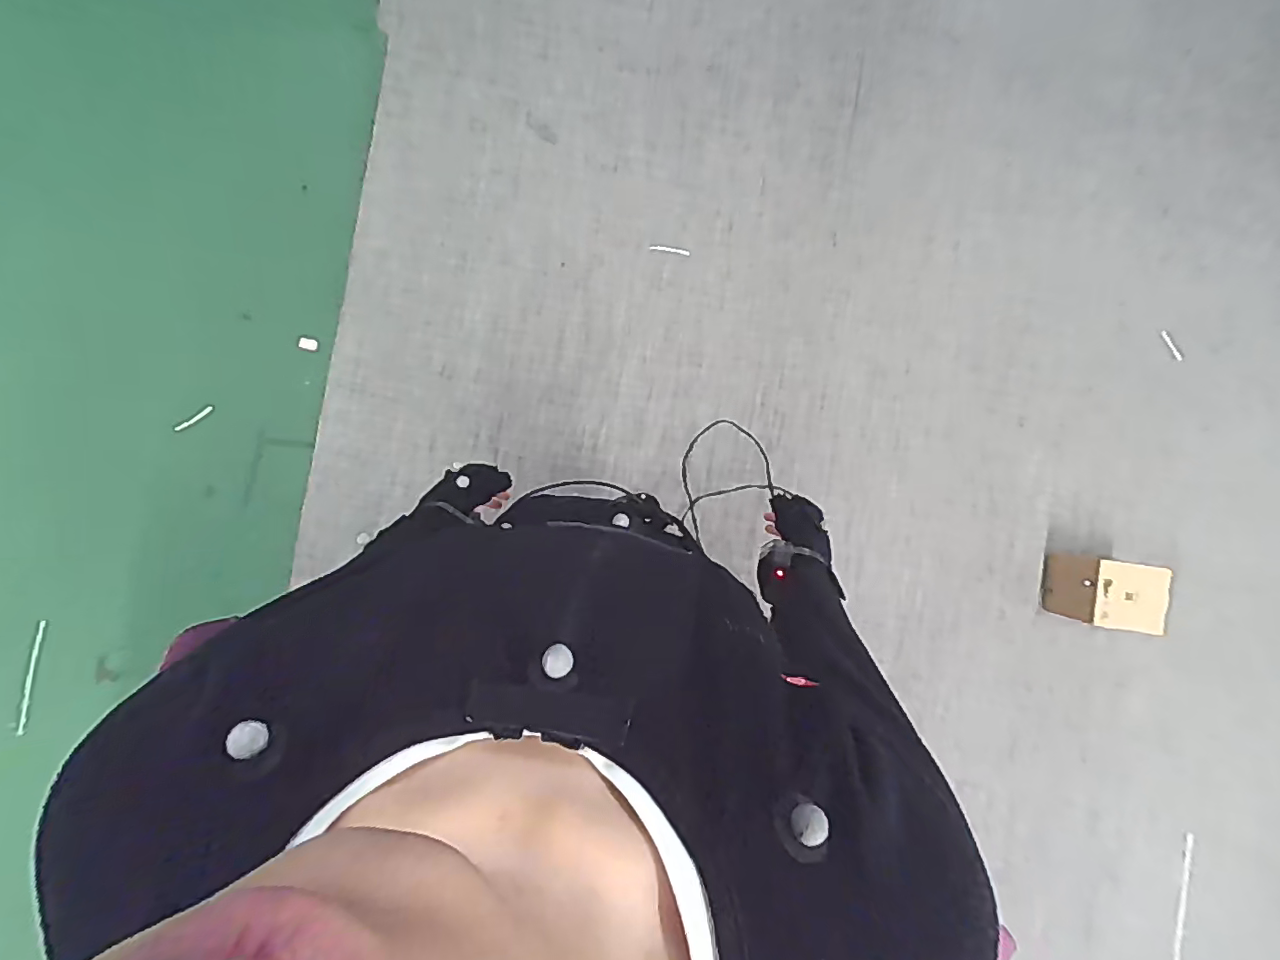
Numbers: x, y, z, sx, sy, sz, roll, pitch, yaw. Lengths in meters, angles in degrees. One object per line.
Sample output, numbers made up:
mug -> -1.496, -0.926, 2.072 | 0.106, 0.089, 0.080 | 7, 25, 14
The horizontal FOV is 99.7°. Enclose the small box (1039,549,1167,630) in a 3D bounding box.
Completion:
small box -> 1.190, 0.275, 1.399 | 0.179, 0.176, 0.168 | 9, 88, 0
